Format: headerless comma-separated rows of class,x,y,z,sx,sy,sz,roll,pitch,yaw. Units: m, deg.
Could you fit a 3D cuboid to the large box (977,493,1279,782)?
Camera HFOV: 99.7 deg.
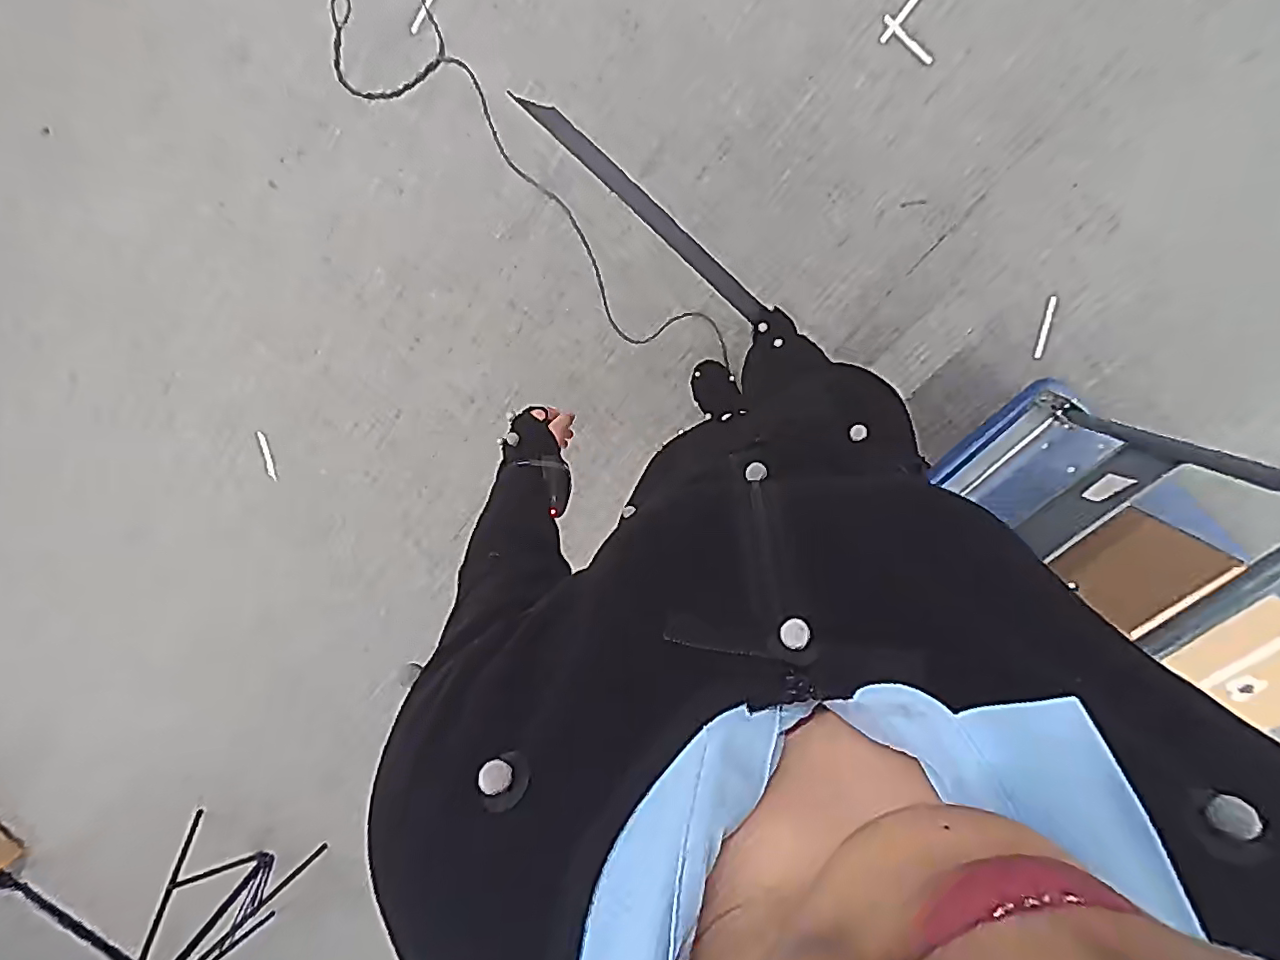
large box,1.010,0.300,1.097,0.320,0.320,0.408,41,109,-5
